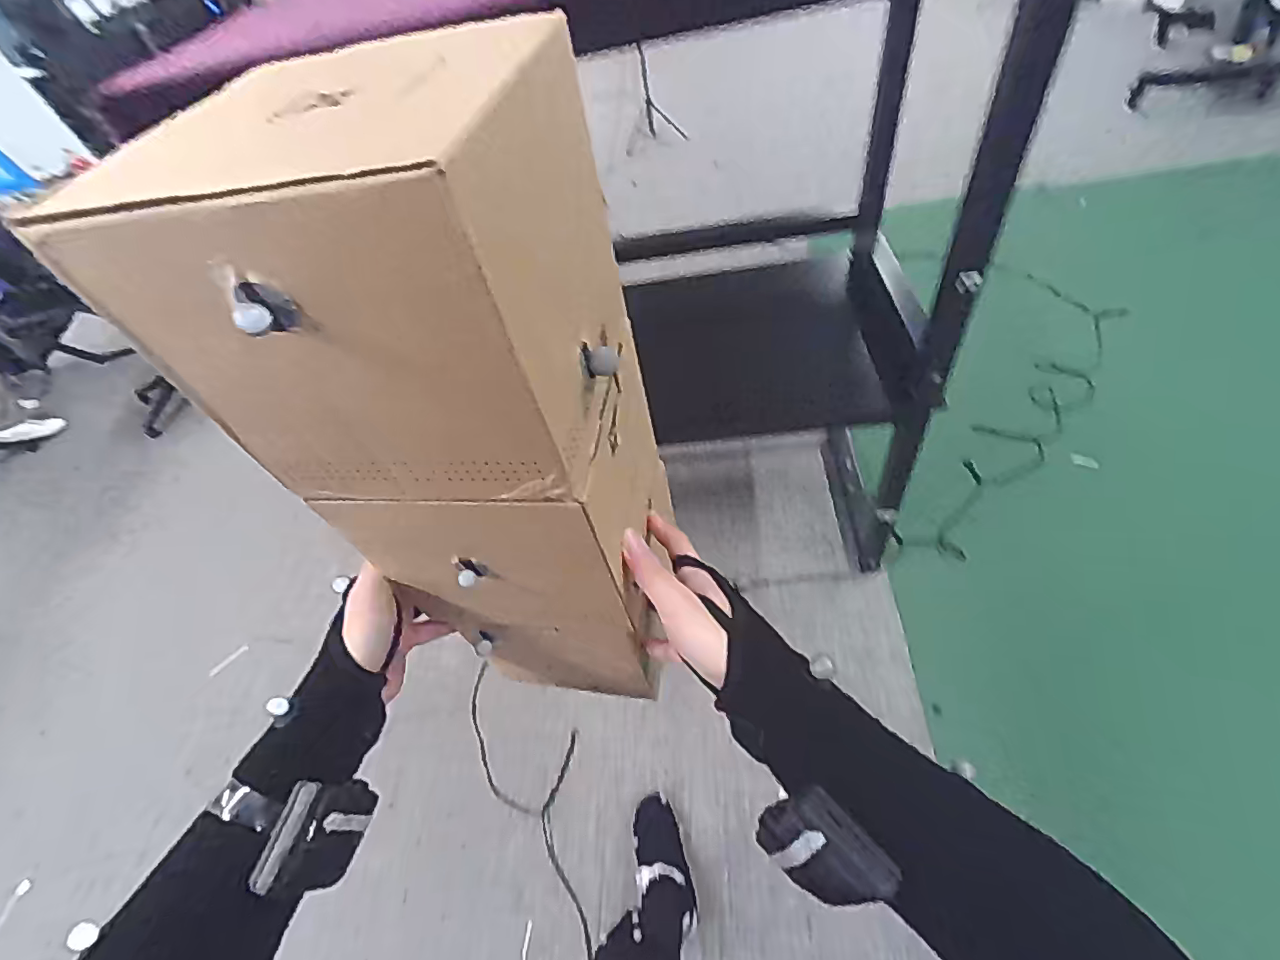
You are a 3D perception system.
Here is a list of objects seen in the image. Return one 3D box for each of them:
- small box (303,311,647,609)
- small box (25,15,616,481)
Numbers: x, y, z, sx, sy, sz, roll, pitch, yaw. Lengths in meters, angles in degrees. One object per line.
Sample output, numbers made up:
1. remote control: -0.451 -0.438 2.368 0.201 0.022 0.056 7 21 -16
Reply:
1. small box: -0.097 -0.011 0.419 0.179 0.176 0.168 -1 51 13
2. small box: -0.125 -0.112 0.294 0.179 0.176 0.168 1 52 13
